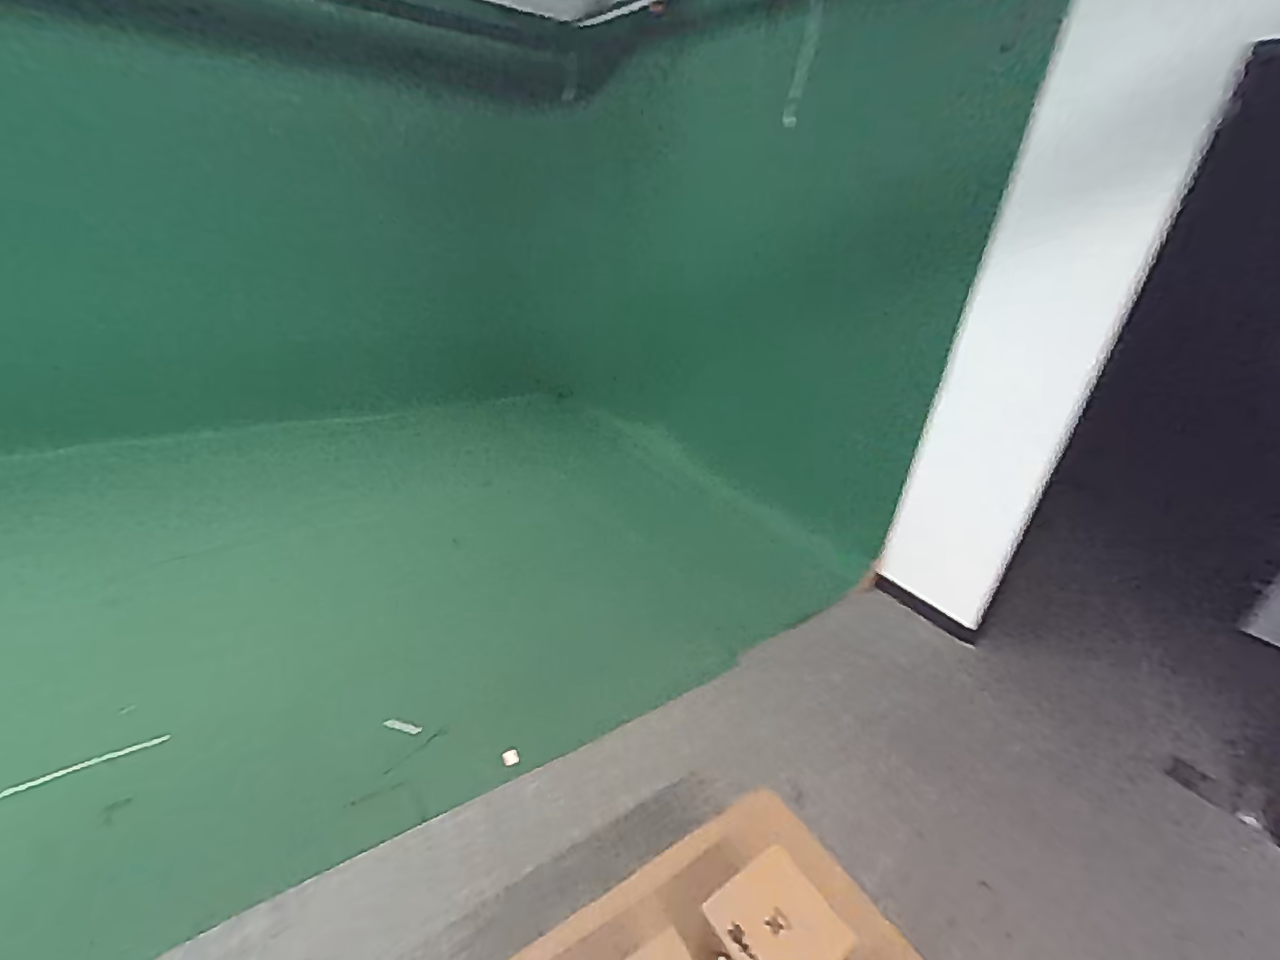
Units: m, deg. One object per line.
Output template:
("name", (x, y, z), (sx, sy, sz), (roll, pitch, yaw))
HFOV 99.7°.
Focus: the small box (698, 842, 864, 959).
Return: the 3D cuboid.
("small box", (0.206, 0.724, 0.835), (0.179, 0.176, 0.168), (-13, 31, -33))
